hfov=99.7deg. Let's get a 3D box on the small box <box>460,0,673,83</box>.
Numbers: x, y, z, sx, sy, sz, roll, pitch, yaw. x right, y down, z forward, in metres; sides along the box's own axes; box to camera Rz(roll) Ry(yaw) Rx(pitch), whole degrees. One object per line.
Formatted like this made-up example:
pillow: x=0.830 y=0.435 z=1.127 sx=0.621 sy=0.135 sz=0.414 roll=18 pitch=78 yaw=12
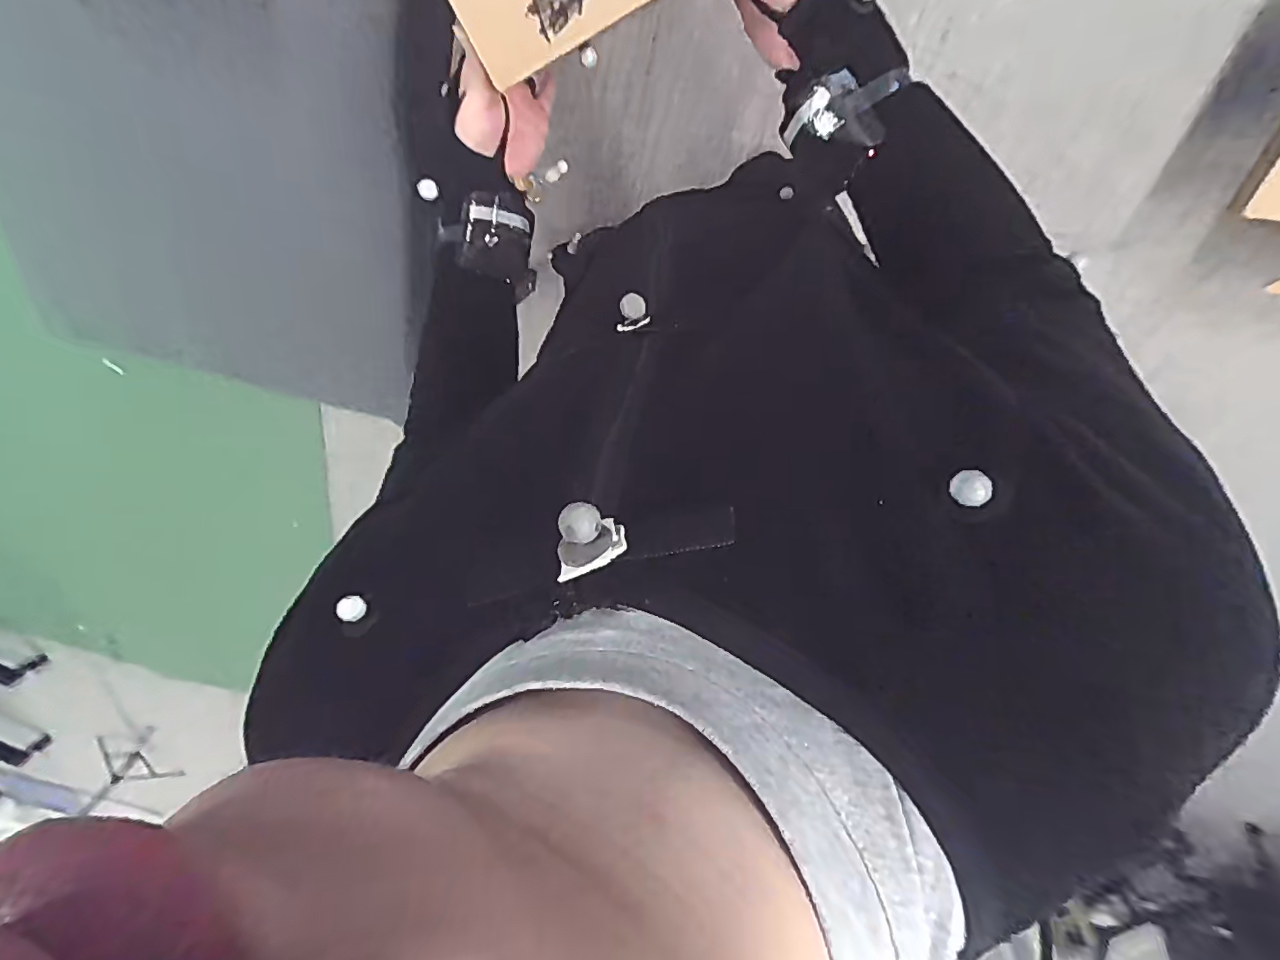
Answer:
small box: x=-0.045 y=-0.404 z=0.355 sx=0.168 sy=0.176 sz=0.179 roll=-14 pitch=129 yaw=22
